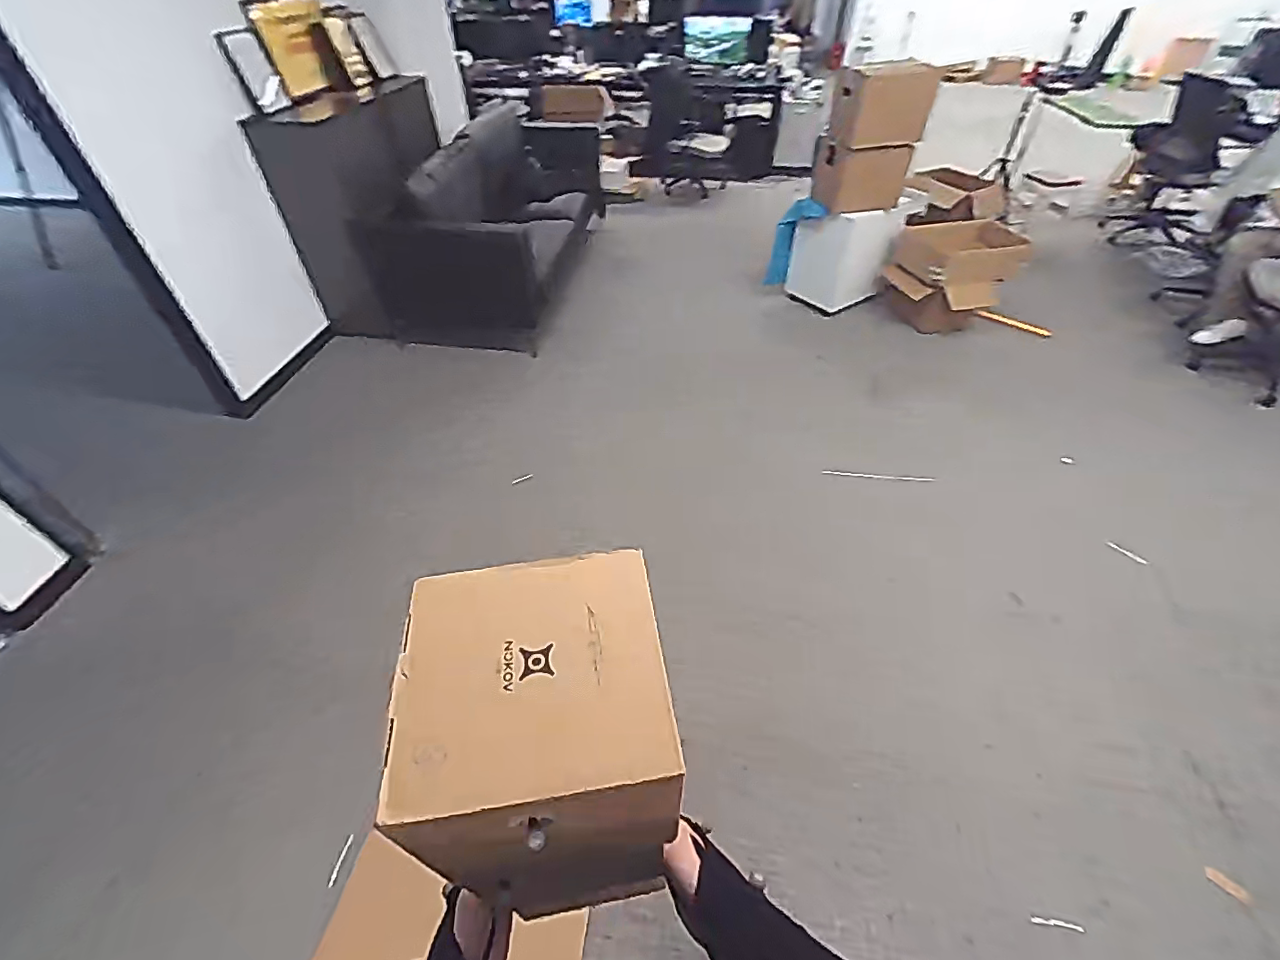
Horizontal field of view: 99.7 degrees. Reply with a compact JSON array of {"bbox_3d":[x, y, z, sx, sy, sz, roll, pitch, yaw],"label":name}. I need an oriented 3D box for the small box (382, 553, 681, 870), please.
[{"bbox_3d":[-0.066,0.180,0.420,0.179,0.176,0.168,-6,45,-4],"label":"small box"}]

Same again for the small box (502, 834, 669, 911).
[{"bbox_3d":[-0.063,0.401,0.663,0.179,0.176,0.168,-7,45,-6],"label":"small box"}]
